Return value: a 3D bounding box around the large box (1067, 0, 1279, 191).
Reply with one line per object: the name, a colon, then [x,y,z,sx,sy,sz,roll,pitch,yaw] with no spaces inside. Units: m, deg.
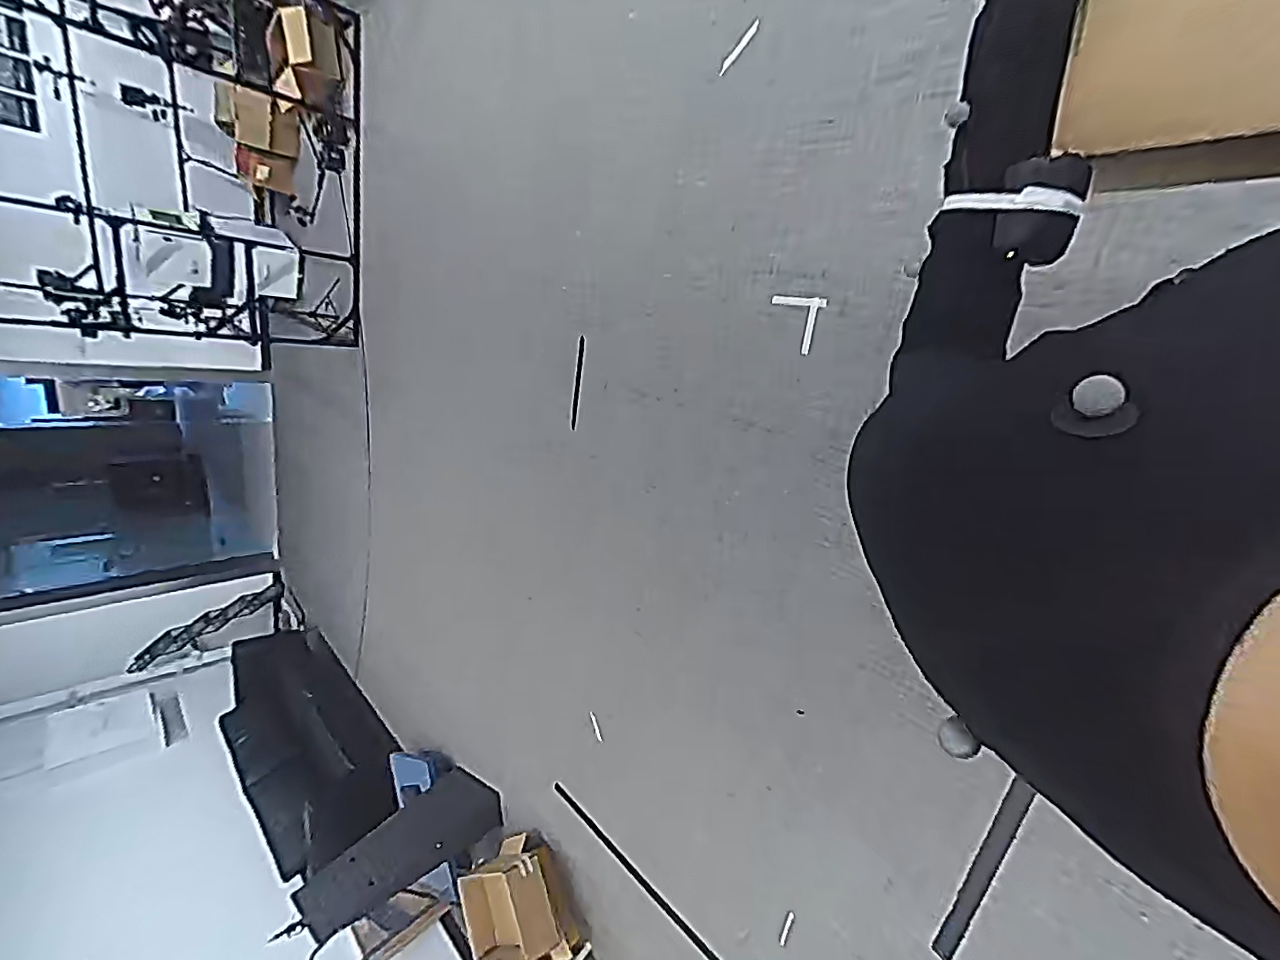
large box: [0.544,-0.382,0.319,0.408,0.320,0.320,15,118,39]
